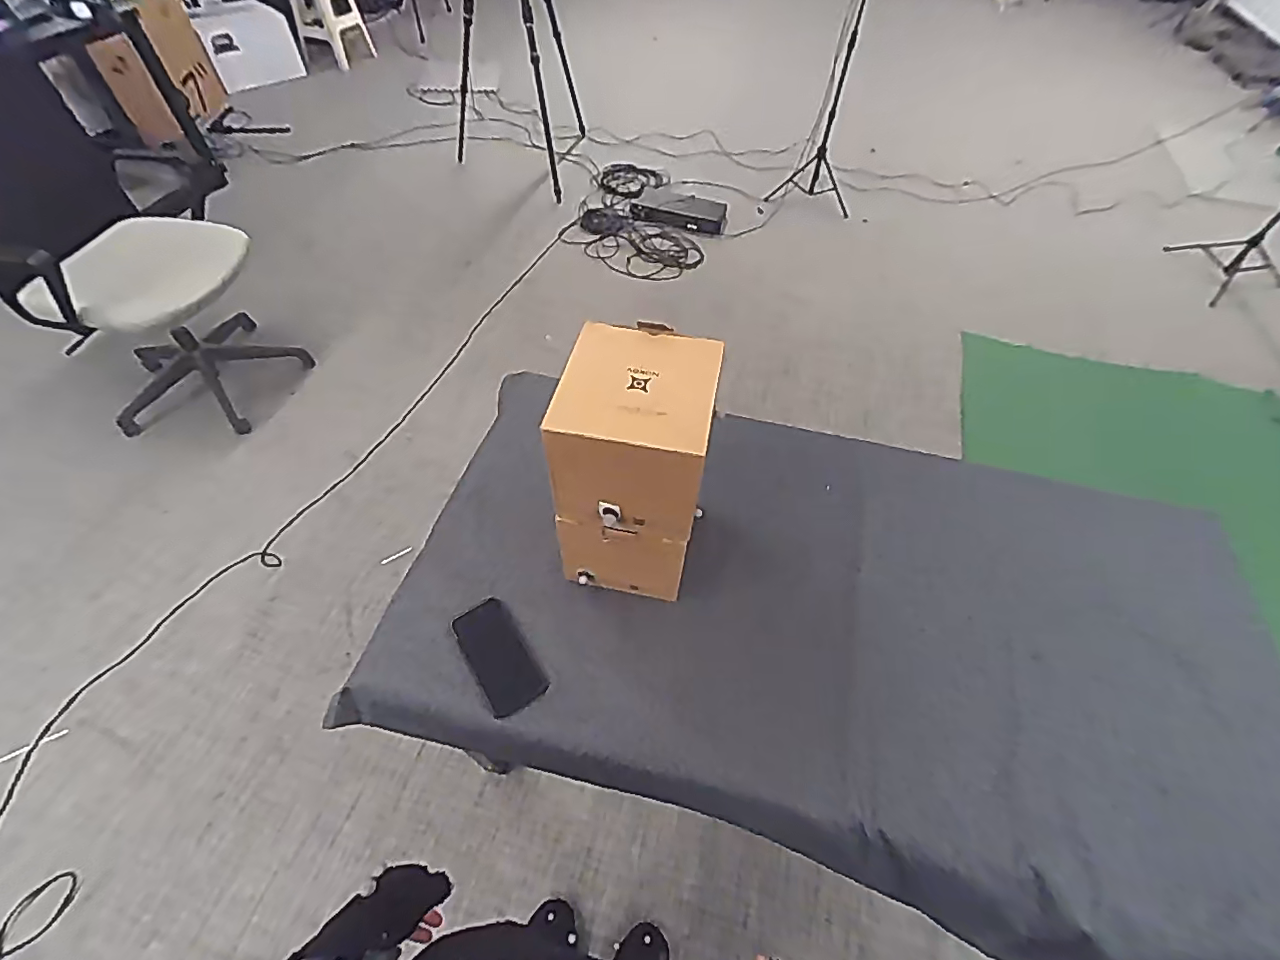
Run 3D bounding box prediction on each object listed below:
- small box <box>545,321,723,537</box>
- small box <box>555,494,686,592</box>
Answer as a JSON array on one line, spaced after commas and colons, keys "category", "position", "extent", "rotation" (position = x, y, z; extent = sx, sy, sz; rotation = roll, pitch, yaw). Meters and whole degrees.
[{"category": "small box", "position": [-0.003, -0.058, 0.641], "extent": [0.168, 0.176, 0.179], "rotation": [9, 55, 5]}, {"category": "small box", "position": [-0.012, 0.038, 0.771], "extent": [0.168, 0.176, 0.179], "rotation": [11, 53, 5]}]
